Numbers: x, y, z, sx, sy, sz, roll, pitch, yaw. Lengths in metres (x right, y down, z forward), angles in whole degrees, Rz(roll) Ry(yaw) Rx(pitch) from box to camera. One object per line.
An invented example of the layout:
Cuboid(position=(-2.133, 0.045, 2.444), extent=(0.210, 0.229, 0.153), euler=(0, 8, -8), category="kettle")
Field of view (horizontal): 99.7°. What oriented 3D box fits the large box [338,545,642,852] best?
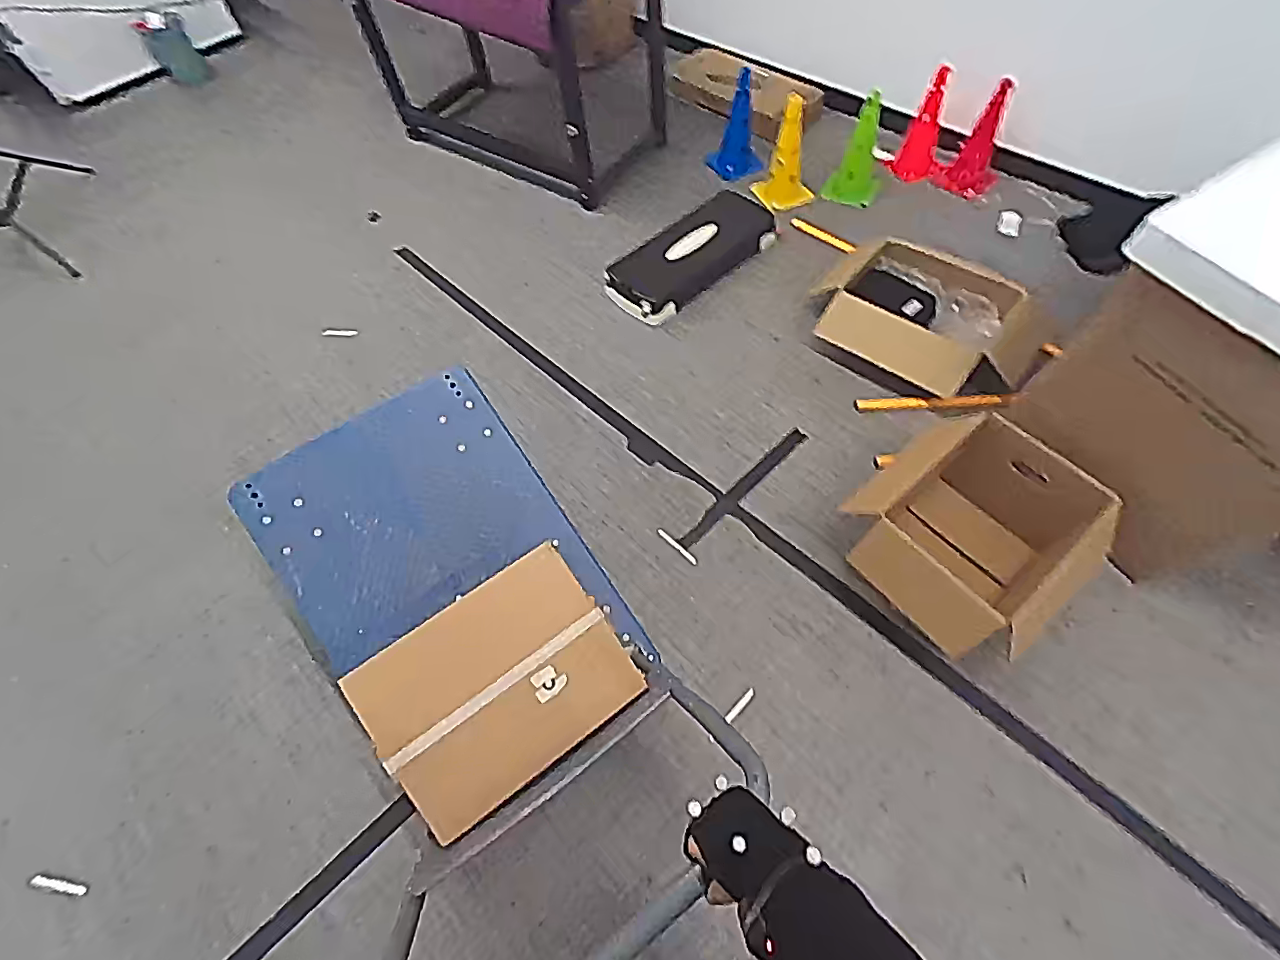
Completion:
Cuboid(position=(-0.265, 0.377, 1.036), extent=(0.408, 0.320, 0.320), euler=(-35, 87, -16), category="large box")
